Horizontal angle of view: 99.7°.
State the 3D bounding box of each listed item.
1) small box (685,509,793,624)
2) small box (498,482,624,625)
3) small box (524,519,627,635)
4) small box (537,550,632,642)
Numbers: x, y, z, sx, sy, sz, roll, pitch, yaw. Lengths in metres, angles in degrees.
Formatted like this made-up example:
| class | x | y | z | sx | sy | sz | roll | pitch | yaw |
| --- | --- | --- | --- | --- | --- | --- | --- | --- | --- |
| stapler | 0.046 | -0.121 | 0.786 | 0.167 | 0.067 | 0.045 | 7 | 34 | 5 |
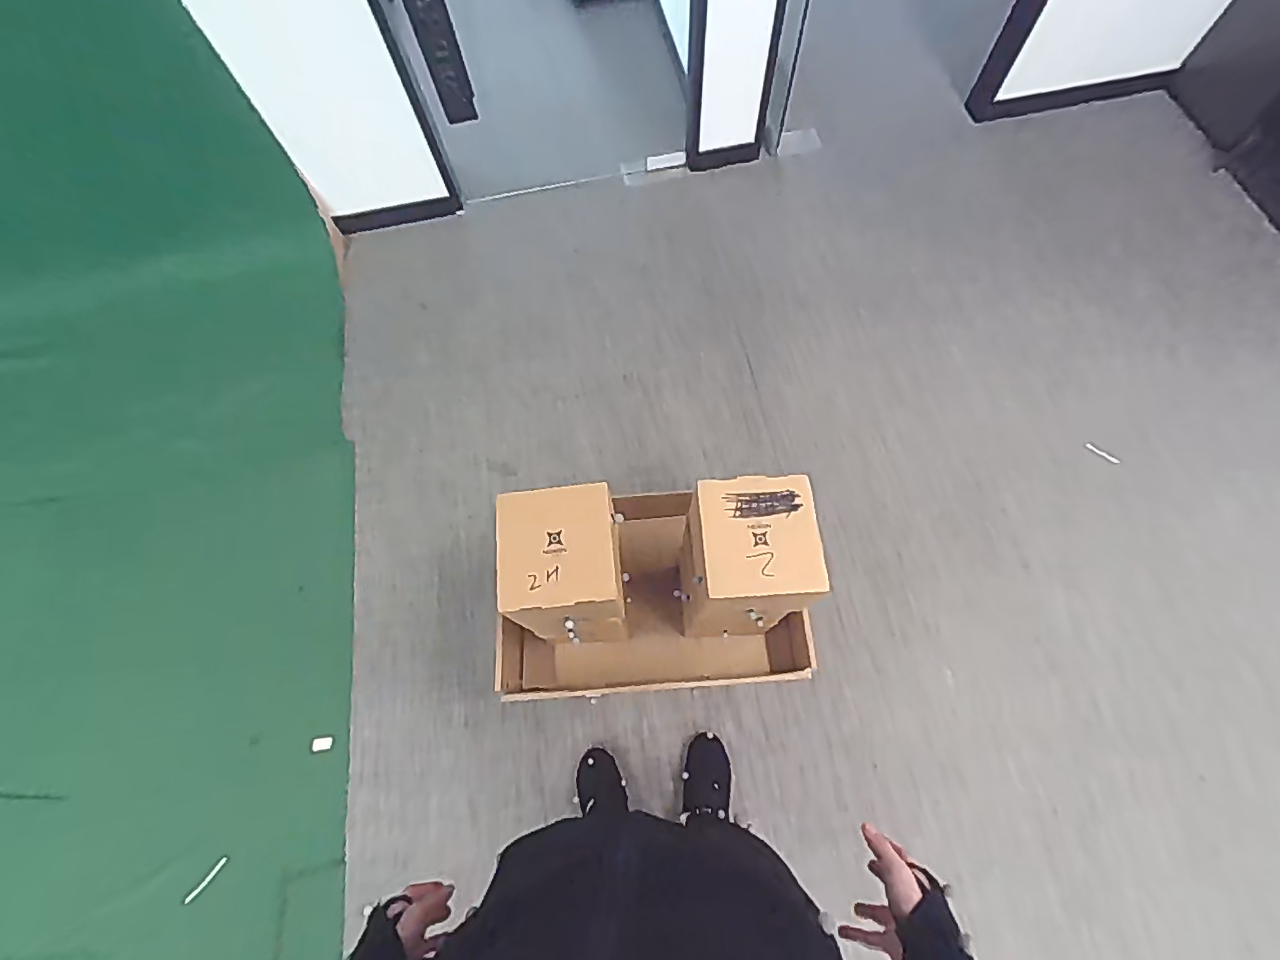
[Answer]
| class | x | y | z | sx | sy | sz | roll | pitch | yaw |
| --- | --- | --- | --- | --- | --- | --- | --- | --- | --- |
| small box | 0.170 | 0.165 | 0.984 | 0.168 | 0.176 | 0.179 | -3 | 66 | 1 |
| small box | -0.117 | 0.120 | 0.842 | 0.168 | 0.176 | 0.179 | -6 | 67 | 0 |
| small box | -0.112 | 0.182 | 0.994 | 0.168 | 0.176 | 0.179 | -3 | 68 | 1 |
| small box | -0.109 | 0.250 | 1.143 | 0.179 | 0.176 | 0.168 | -1 | 67 | 2 |
